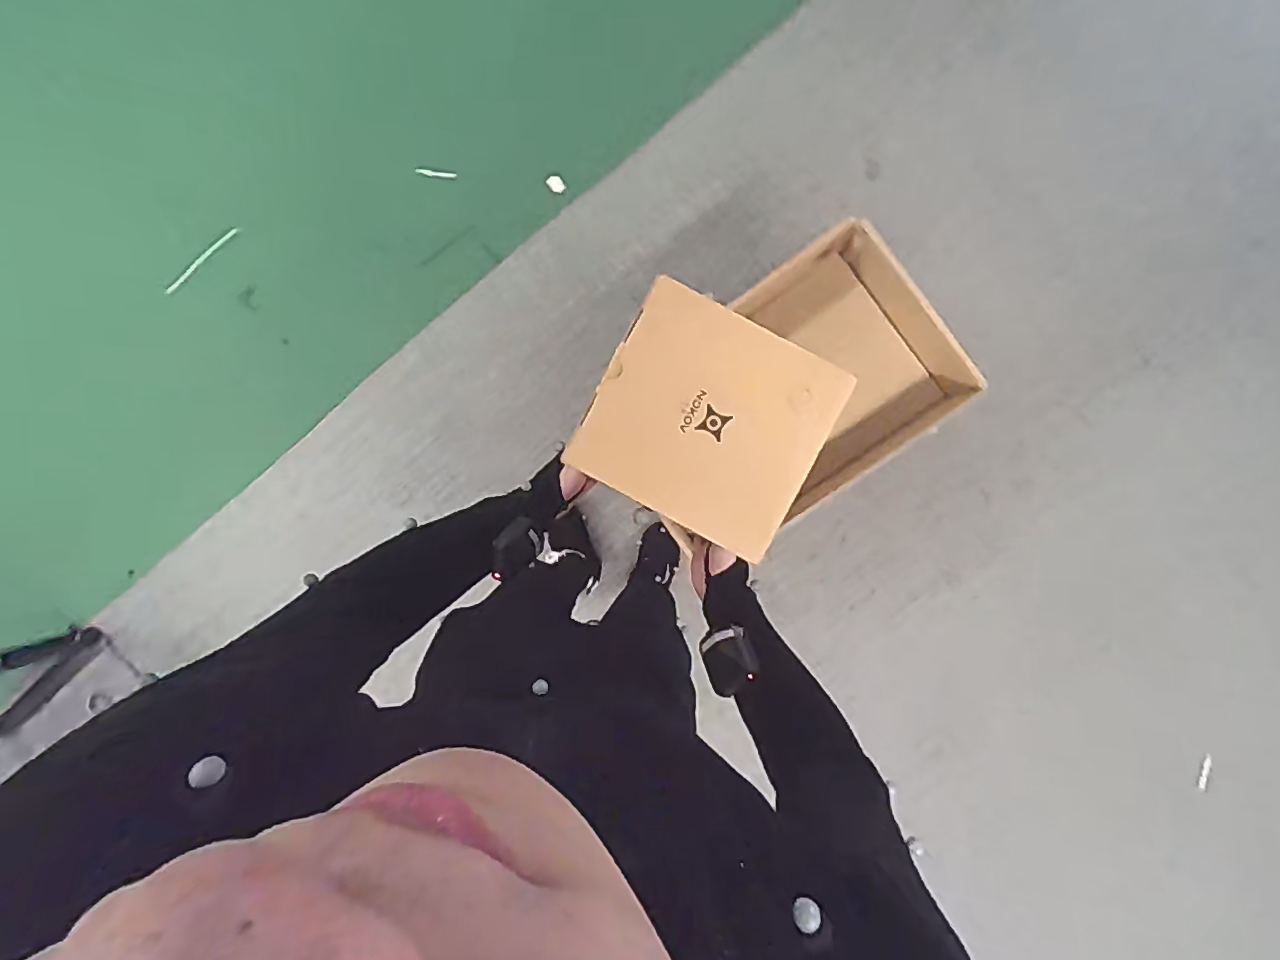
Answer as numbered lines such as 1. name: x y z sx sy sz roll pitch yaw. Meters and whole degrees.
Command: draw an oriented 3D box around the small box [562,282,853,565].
1. small box: 0.053 -0.046 0.496 0.179 0.176 0.168 27 91 1
